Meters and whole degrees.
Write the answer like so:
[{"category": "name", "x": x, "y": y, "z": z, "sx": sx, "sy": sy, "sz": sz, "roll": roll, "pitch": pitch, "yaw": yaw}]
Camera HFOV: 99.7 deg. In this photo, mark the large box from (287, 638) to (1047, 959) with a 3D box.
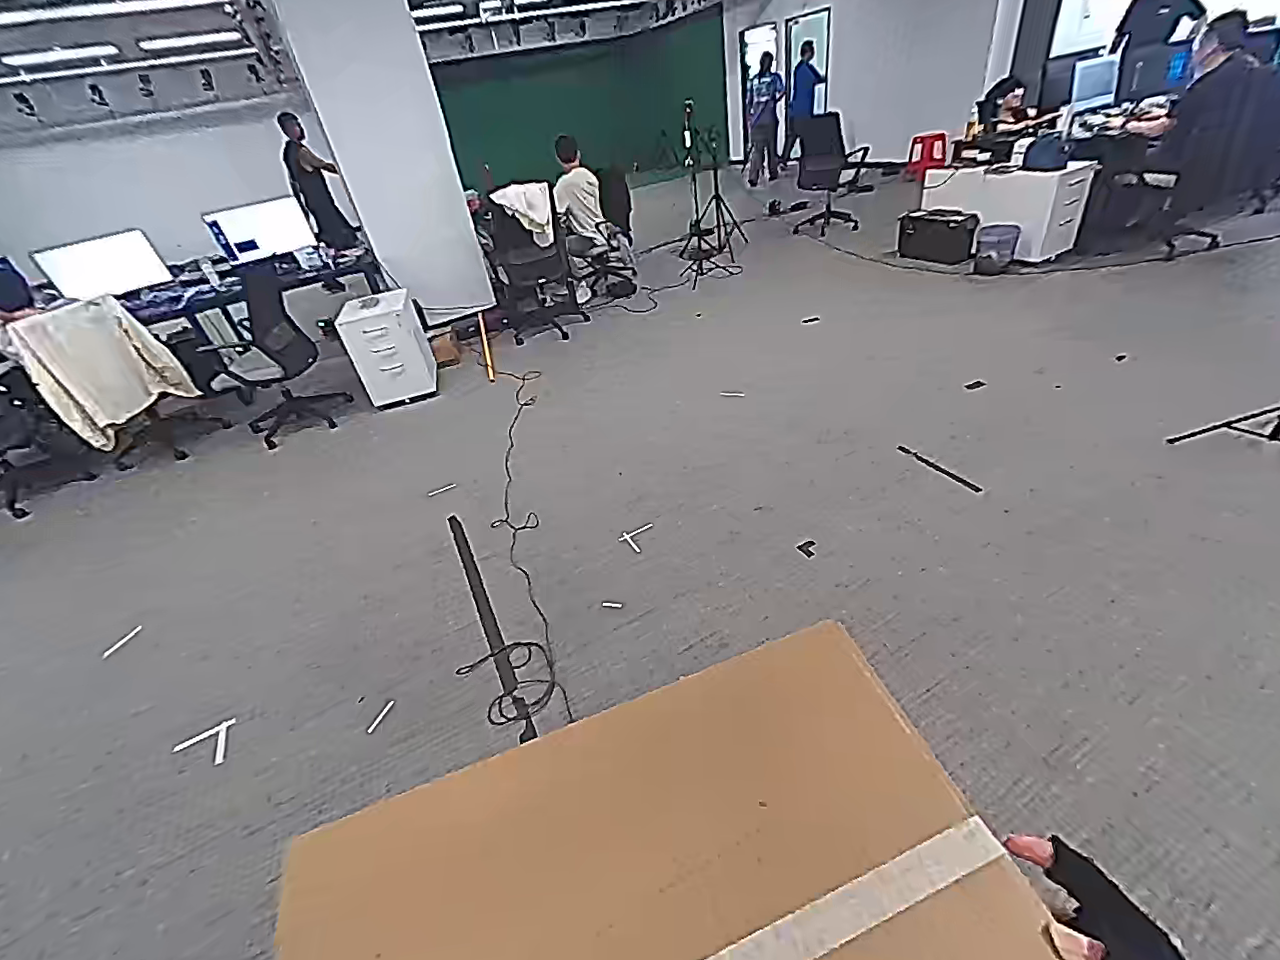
[{"category": "large box", "x": 0.029, "y": 0.386, "z": 0.391, "sx": 0.408, "sy": 0.320, "sz": 0.320, "roll": -19, "pitch": 46, "yaw": -11}]
